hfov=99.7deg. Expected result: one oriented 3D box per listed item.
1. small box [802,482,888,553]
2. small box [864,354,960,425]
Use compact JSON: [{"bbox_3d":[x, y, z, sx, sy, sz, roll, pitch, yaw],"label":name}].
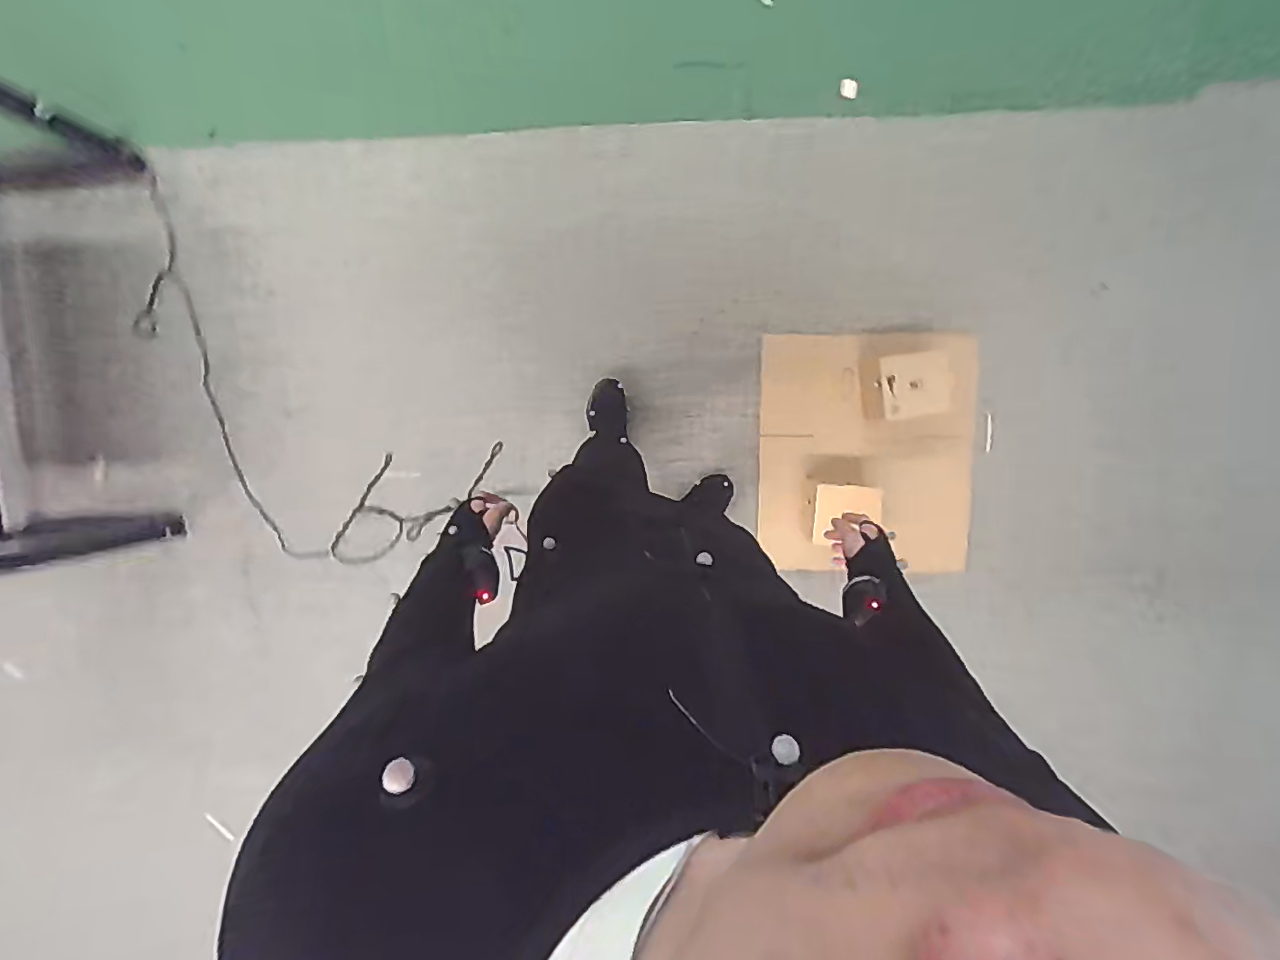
[{"bbox_3d":[0.559,0.098,1.496,0.179,0.176,0.168,4,95,3],"label":"small box"},{"bbox_3d":[0.725,-0.240,1.454,0.179,0.176,0.168,-7,95,4],"label":"small box"}]
